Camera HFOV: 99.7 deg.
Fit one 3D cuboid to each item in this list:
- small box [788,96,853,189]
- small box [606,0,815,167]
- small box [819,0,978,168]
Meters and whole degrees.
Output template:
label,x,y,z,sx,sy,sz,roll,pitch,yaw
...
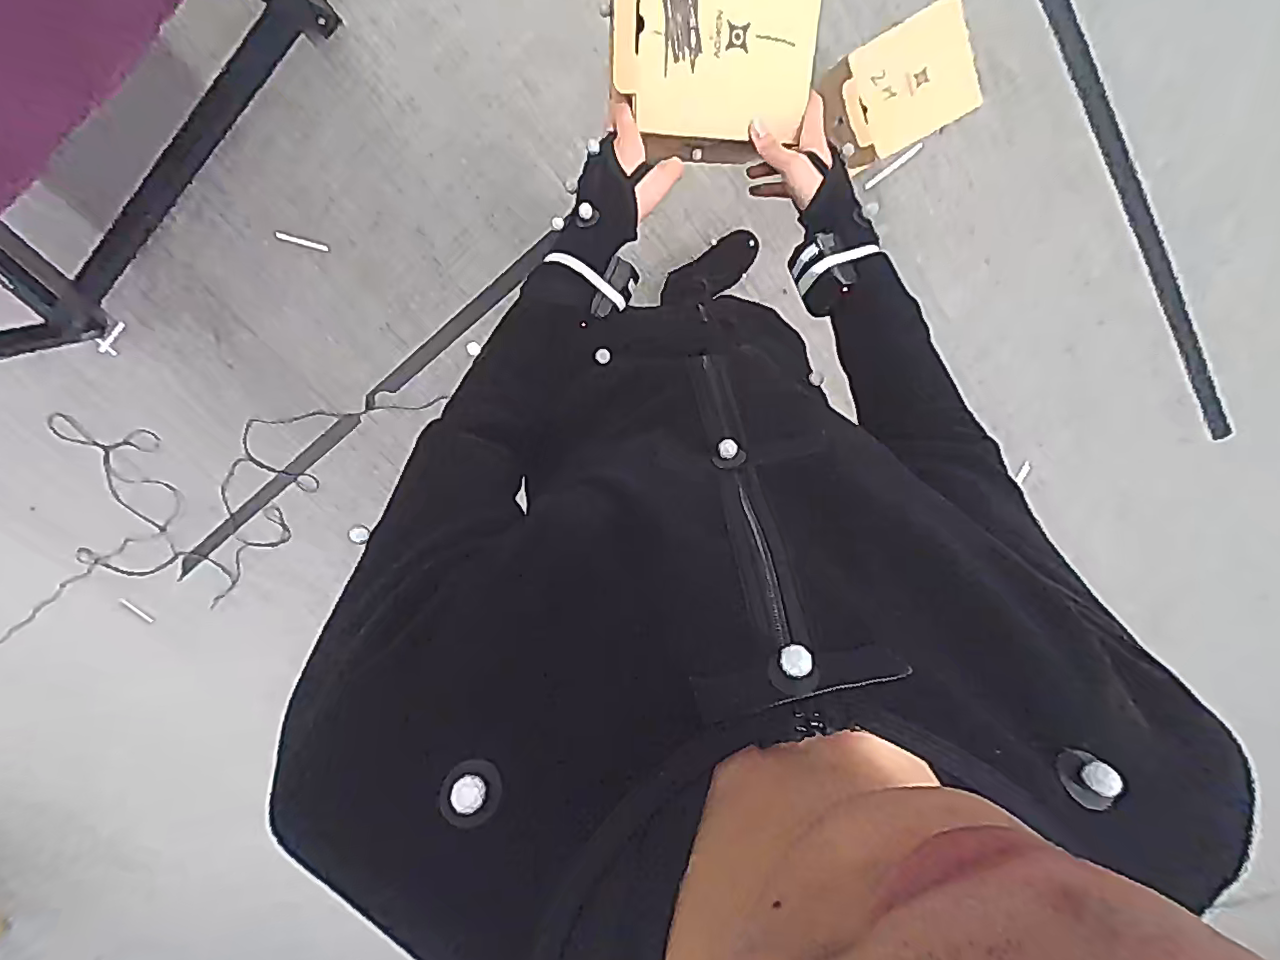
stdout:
label,x,y,z,sx,sy,sz,roll,pitch,yaw
small box,0.445,-0.793,1.238,0.179,0.176,0.168,-31,110,15
small box,0.059,-0.434,0.565,0.179,0.176,0.168,-4,114,-12
small box,0.436,-0.667,0.933,0.179,0.176,0.168,-25,112,13
